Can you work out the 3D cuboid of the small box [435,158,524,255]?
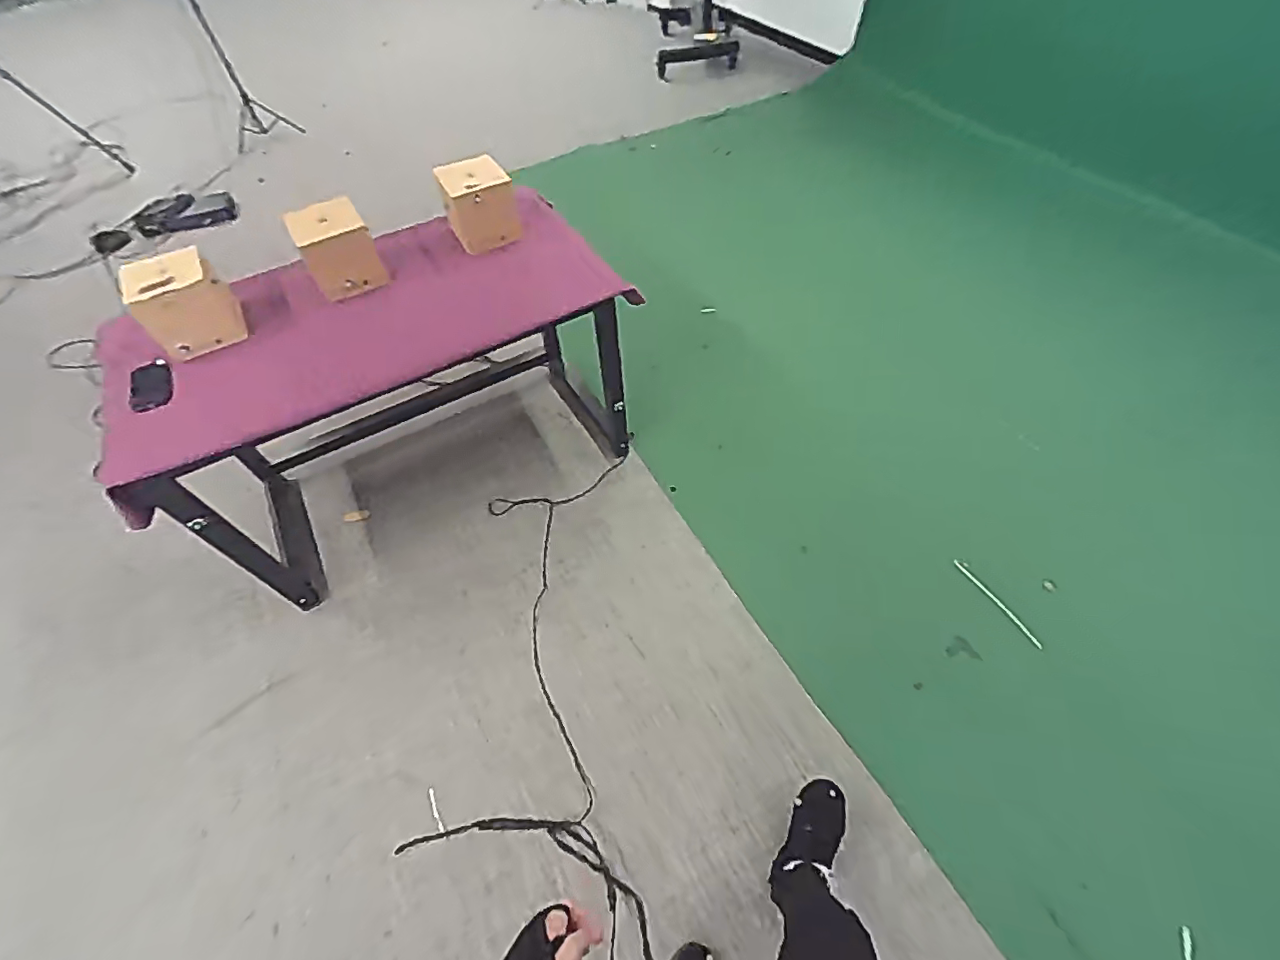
[{"bbox_3d":[-0.445,-0.764,1.515,0.168,0.176,0.179,-27,57,-13],"label":"small box"}]

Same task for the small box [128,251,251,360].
[{"bbox_3d":[-1.080,-0.413,1.308,0.168,0.176,0.179,-27,57,-15],"label":"small box"}]

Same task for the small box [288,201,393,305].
[{"bbox_3d":[-0.781,-0.592,1.418,0.168,0.176,0.179,-28,59,-14],"label":"small box"}]
